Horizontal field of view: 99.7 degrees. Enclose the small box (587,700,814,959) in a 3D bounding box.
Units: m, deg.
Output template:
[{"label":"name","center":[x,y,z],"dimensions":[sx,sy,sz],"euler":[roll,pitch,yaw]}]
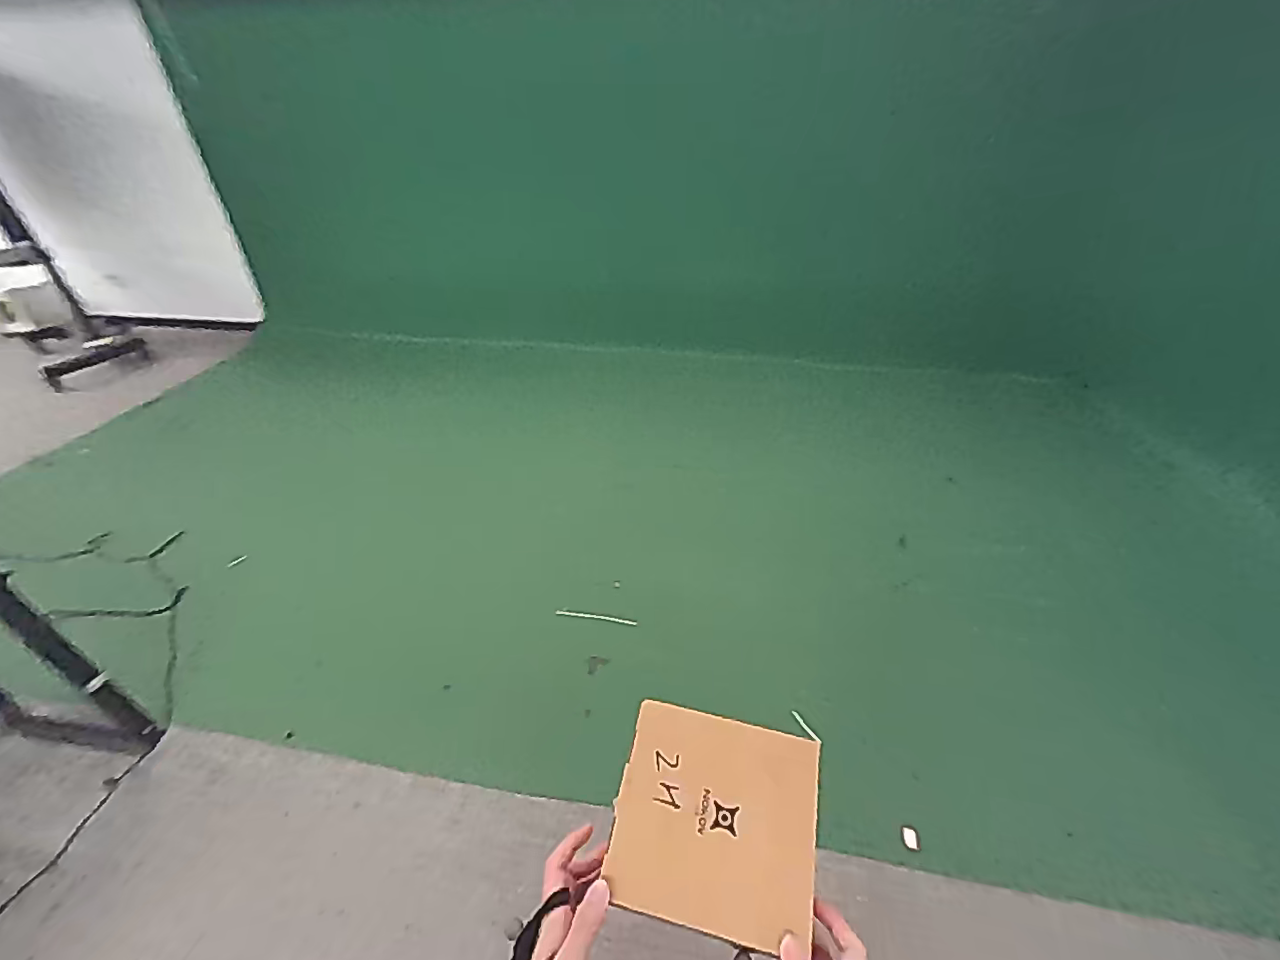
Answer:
[{"label":"small box","center":[0.062,0.346,0.536],"dimensions":[0.179,0.176,0.168],"euler":[10,50,11]}]
